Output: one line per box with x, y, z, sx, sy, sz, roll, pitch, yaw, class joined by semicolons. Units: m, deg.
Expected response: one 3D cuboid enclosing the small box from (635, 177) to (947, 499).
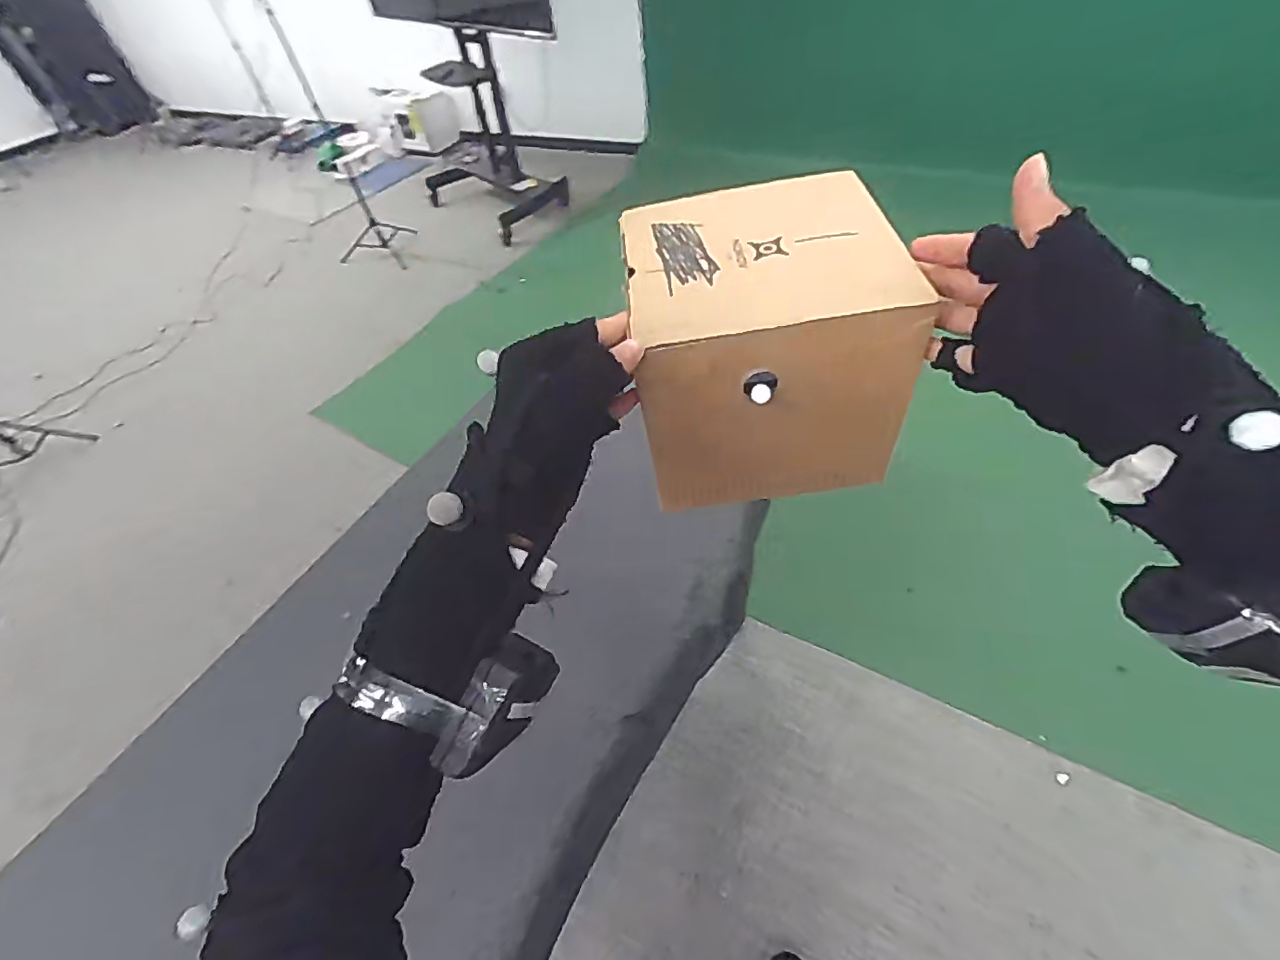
0.097;-0.100;0.419;0.179;0.176;0.168;-7;52;5;small box
